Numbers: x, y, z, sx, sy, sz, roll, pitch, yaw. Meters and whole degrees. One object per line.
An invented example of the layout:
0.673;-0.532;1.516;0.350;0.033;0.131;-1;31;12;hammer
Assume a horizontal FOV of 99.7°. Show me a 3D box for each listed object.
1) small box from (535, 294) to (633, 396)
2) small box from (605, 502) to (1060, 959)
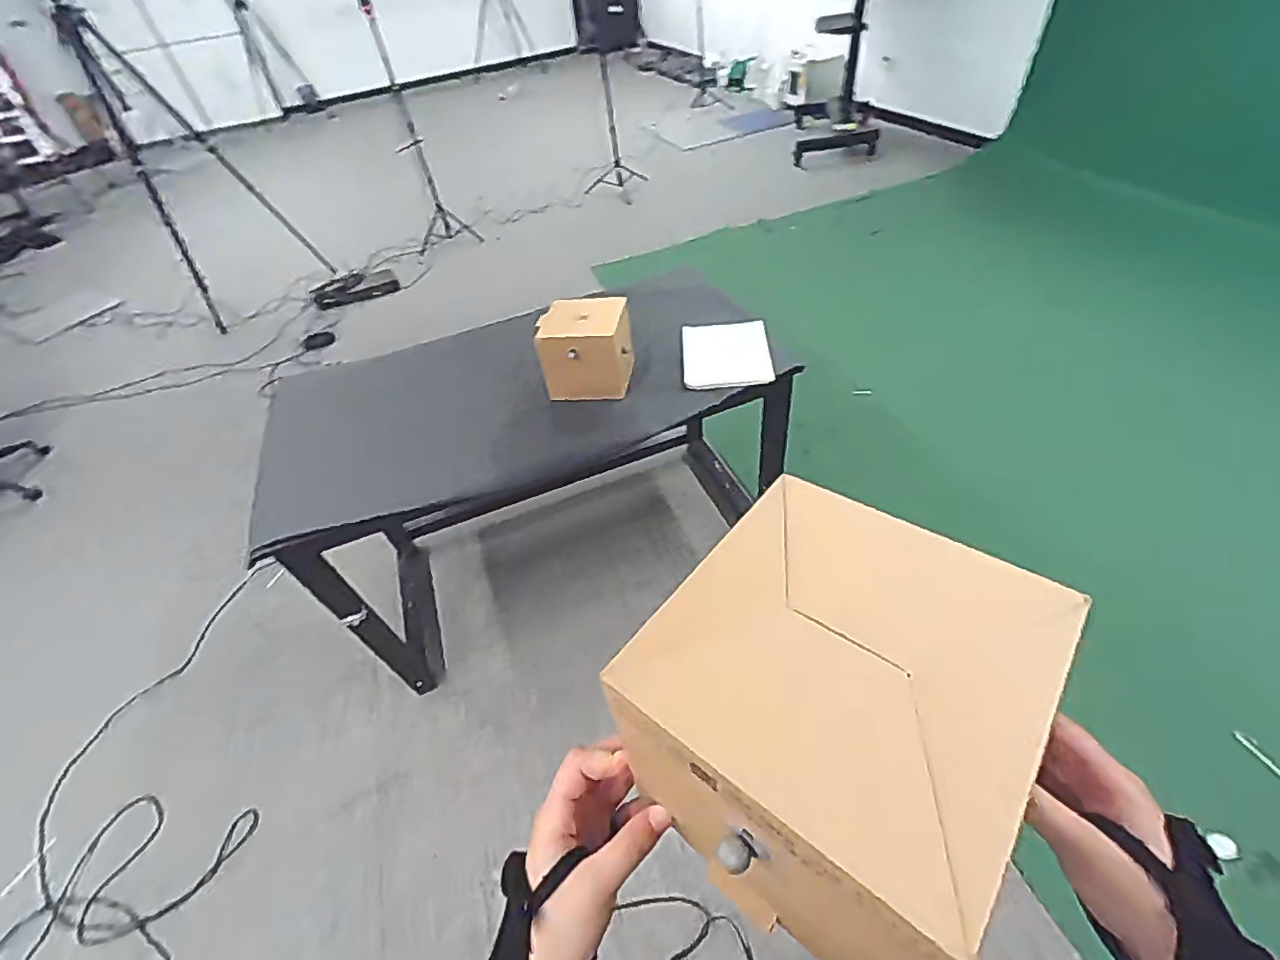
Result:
-0.117;-0.305;1.236;0.179;0.176;0.168;1;47;11;small box
0.103;0.134;0.311;0.168;0.176;0.179;25;52;33;small box
